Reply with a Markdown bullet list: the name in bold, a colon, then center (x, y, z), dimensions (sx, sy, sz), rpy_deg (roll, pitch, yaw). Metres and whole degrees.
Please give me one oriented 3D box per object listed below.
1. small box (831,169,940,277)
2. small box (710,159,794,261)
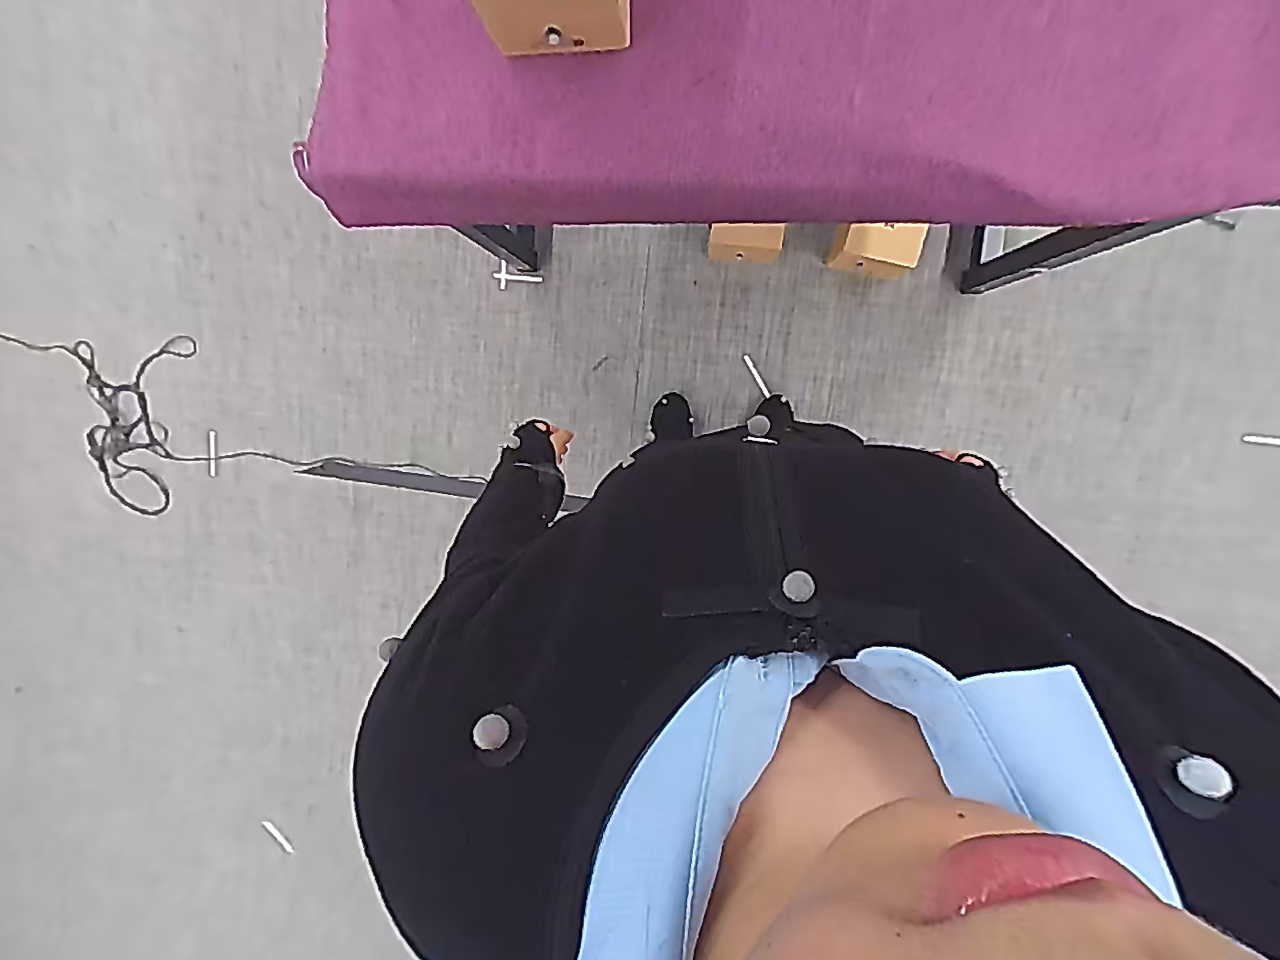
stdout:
- **small box**: center (0.565, -0.594, 1.275), dimensions (0.168, 0.176, 0.179), rpy_deg (15, 100, 4)
- **small box**: center (0.260, -0.637, 1.297), dimensions (0.168, 0.176, 0.179), rpy_deg (8, 100, 4)
